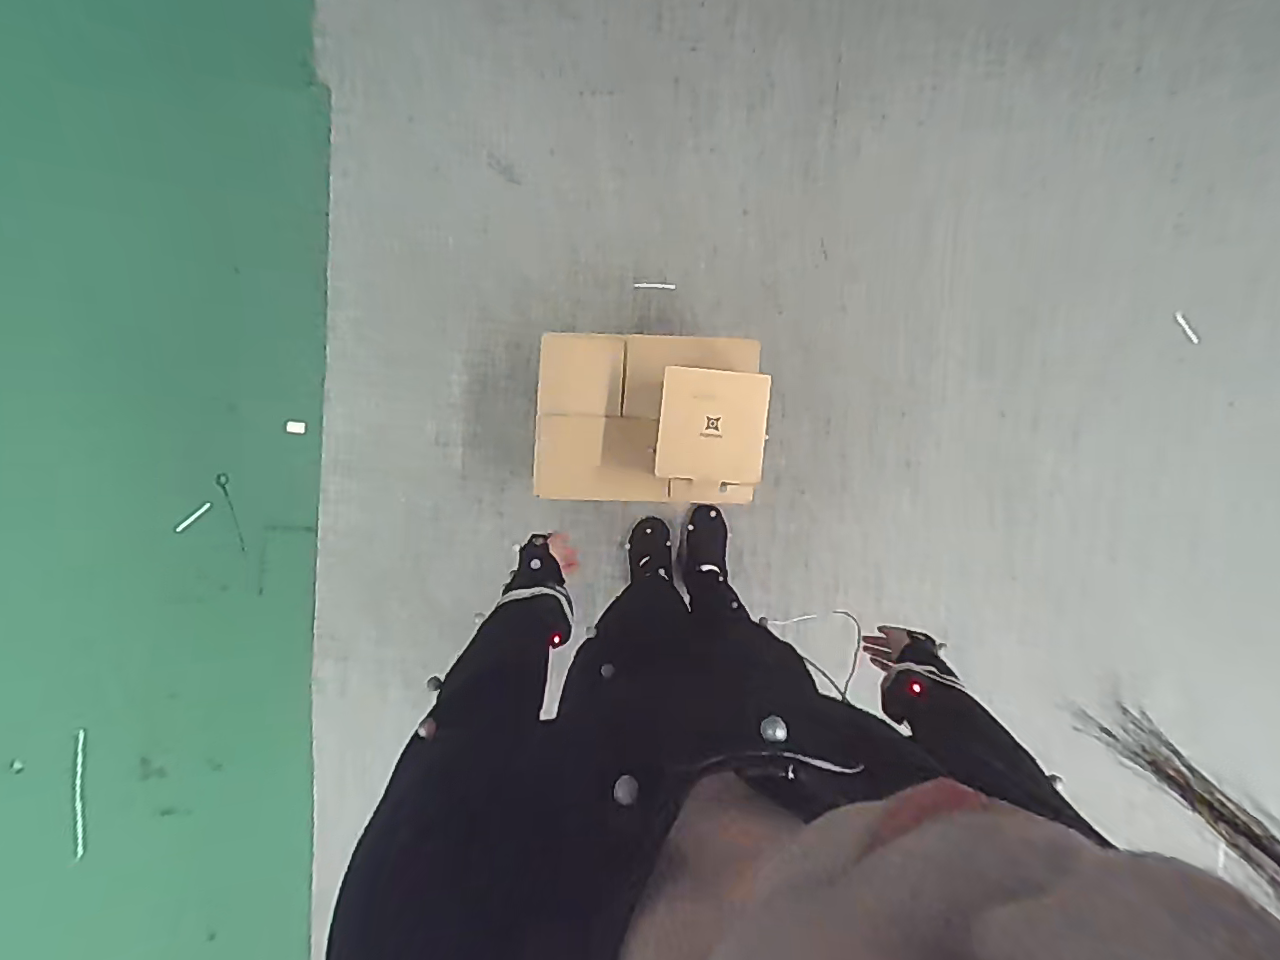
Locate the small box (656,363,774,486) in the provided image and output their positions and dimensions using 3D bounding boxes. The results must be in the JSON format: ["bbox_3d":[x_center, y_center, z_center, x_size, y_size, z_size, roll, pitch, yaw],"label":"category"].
[{"bbox_3d":[0.118,-0.086,0.906,0.168,0.176,0.179,6,91,2],"label":"small box"}]
